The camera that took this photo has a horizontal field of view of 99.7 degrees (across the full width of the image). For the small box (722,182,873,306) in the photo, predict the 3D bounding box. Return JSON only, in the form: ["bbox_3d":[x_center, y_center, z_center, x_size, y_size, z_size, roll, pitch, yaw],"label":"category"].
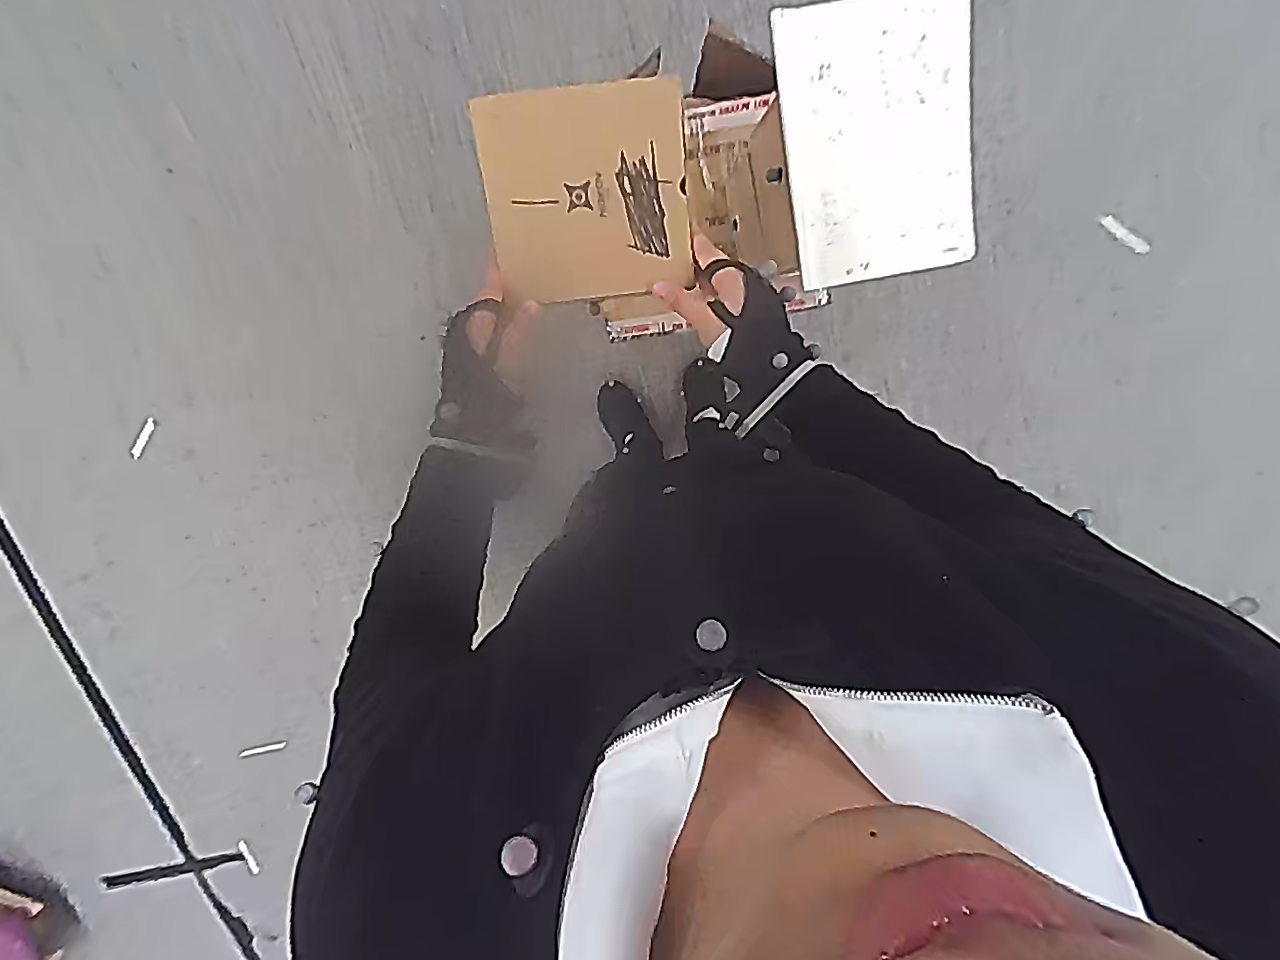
[{"bbox_3d":[0.241,-0.377,0.840,0.179,0.176,0.168,-16,104,2],"label":"small box"}]

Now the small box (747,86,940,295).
[{"bbox_3d":[0.243,-0.345,0.680,0.168,0.176,0.179,-13,104,0],"label":"small box"}]

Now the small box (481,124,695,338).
[{"bbox_3d":[-0.046,-0.243,0.557,0.179,0.176,0.168,-6,108,-1],"label":"small box"}]
